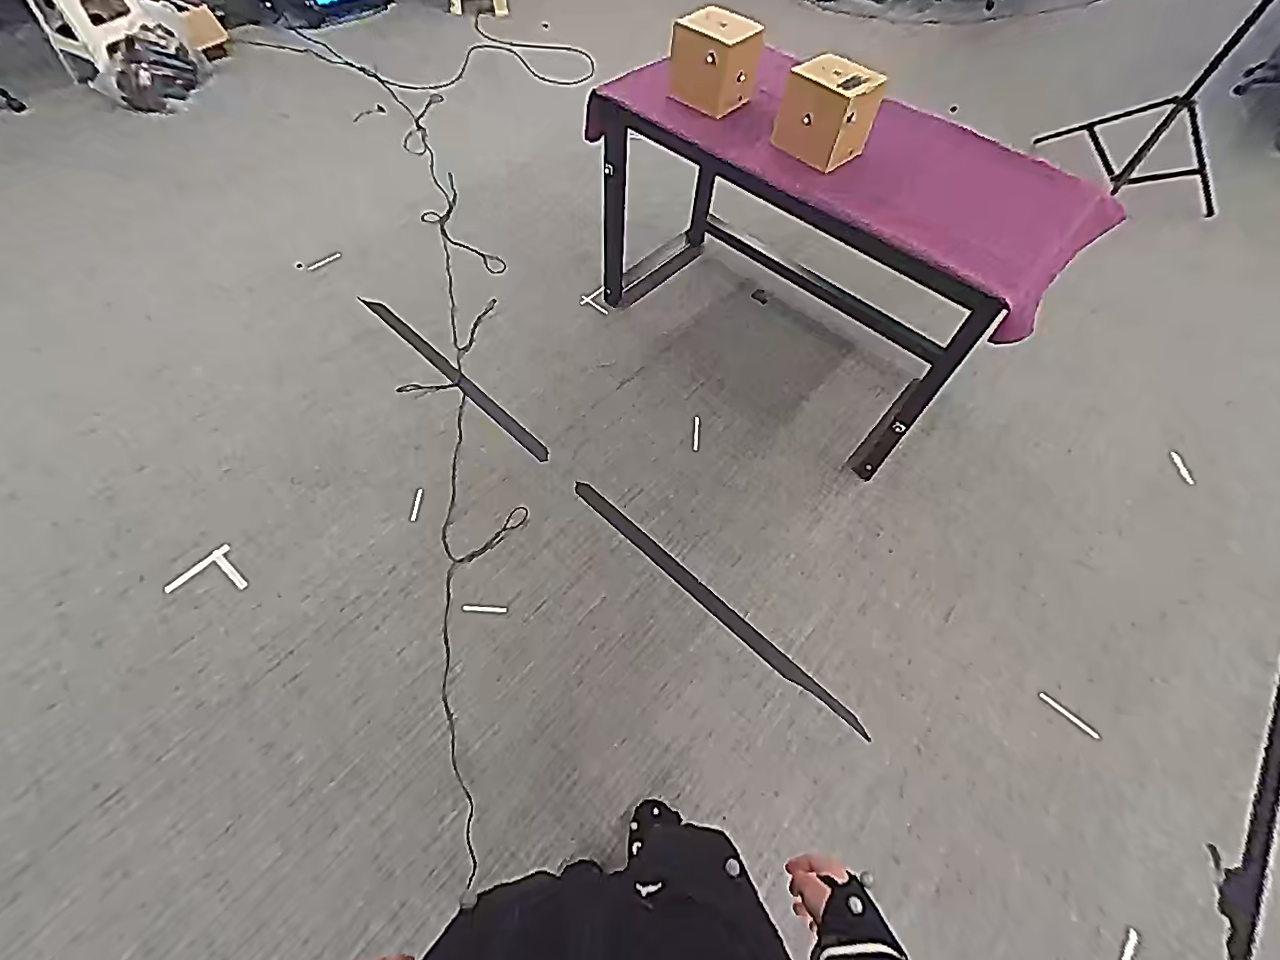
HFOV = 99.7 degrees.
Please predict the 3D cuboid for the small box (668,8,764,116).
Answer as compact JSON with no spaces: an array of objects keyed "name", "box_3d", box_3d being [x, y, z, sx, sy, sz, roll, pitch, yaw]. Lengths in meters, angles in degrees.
[{"name":"small box","box_3d":[0.193,-1.092,1.422,0.179,0.176,0.168,36,61,17]}]
